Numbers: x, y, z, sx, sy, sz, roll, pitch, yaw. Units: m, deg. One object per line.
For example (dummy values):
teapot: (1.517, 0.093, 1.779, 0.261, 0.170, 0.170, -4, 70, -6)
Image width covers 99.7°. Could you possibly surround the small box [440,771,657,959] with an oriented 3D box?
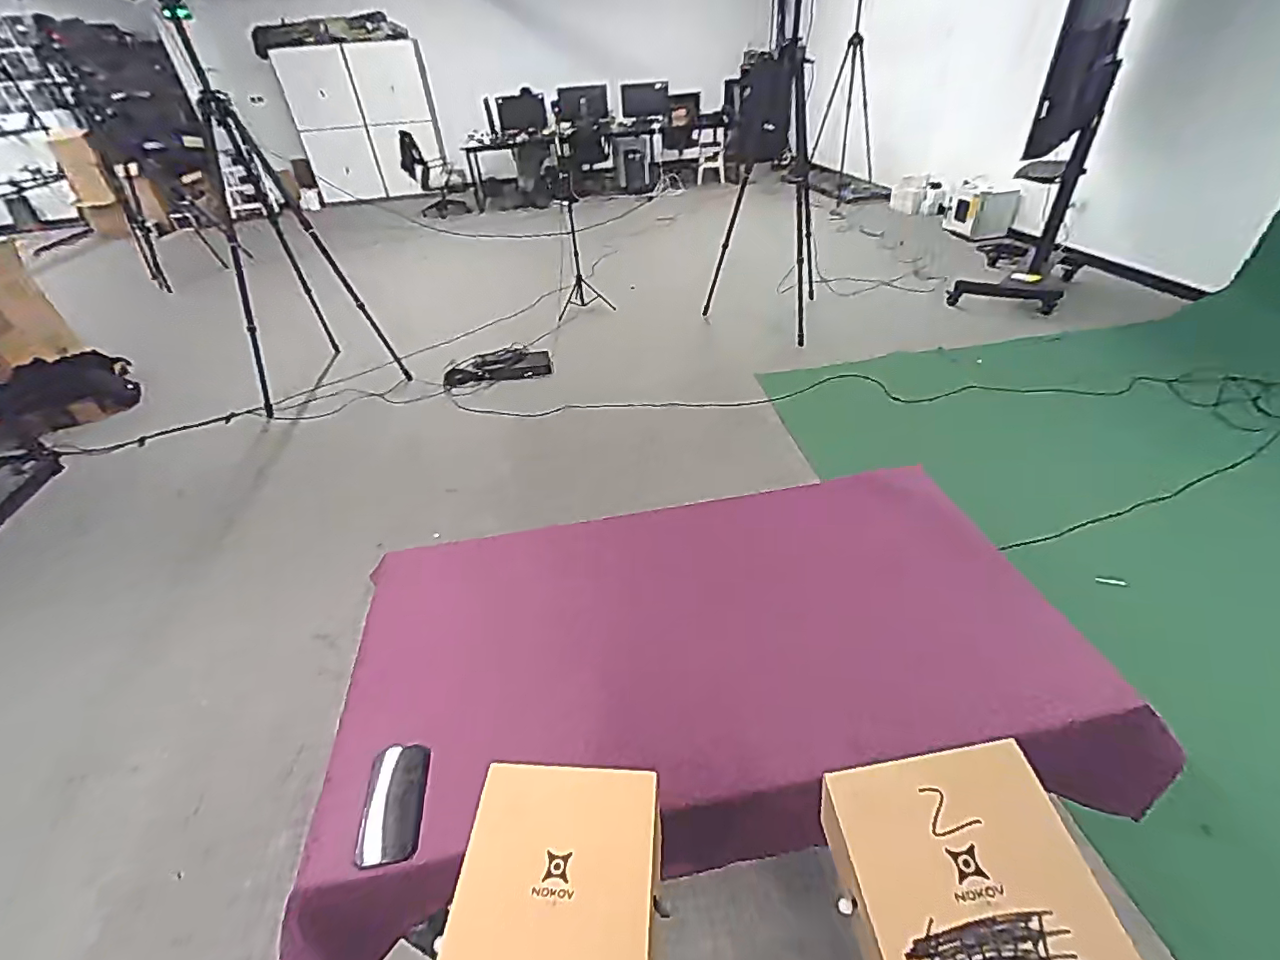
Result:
small box: (-0.069, 0.406, 0.510, 0.168, 0.176, 0.179, 0, 39, 4)
